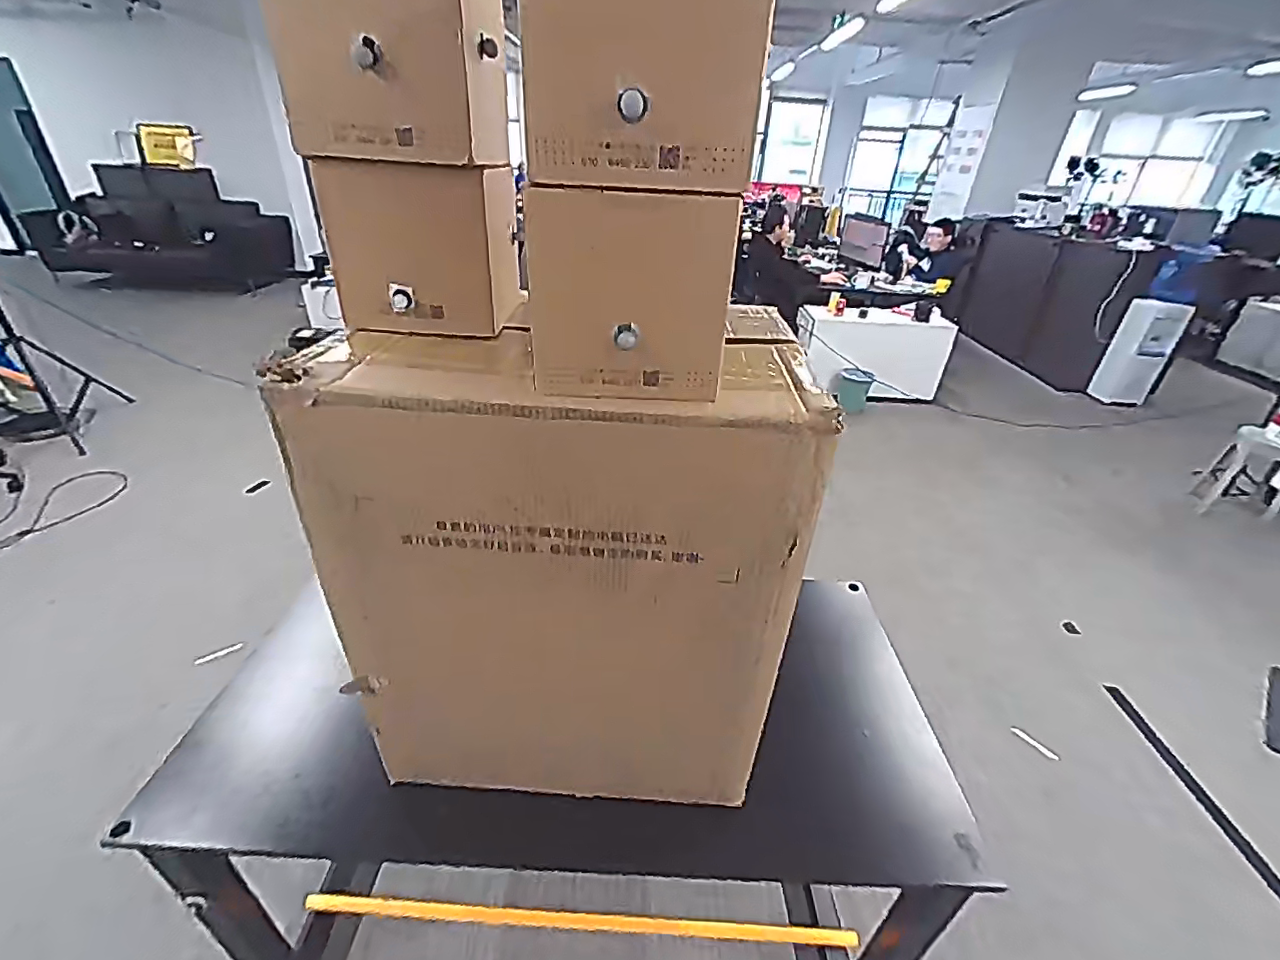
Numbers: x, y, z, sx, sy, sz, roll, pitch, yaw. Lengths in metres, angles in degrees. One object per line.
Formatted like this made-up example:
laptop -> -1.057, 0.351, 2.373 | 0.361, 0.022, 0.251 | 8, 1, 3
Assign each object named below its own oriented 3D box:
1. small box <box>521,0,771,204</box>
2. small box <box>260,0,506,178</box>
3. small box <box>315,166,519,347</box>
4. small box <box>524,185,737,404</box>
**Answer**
small box -> 0.002, -0.323, 0.430 | 0.168, 0.176, 0.179 | 2, 32, 0
small box -> -0.232, -0.398, 0.533 | 0.168, 0.176, 0.179 | 2, 31, -2
small box -> -0.238, -0.265, 0.630 | 0.168, 0.176, 0.179 | 1, 32, -3
small box -> -0.009, -0.185, 0.519 | 0.168, 0.176, 0.179 | 1, 31, -1
